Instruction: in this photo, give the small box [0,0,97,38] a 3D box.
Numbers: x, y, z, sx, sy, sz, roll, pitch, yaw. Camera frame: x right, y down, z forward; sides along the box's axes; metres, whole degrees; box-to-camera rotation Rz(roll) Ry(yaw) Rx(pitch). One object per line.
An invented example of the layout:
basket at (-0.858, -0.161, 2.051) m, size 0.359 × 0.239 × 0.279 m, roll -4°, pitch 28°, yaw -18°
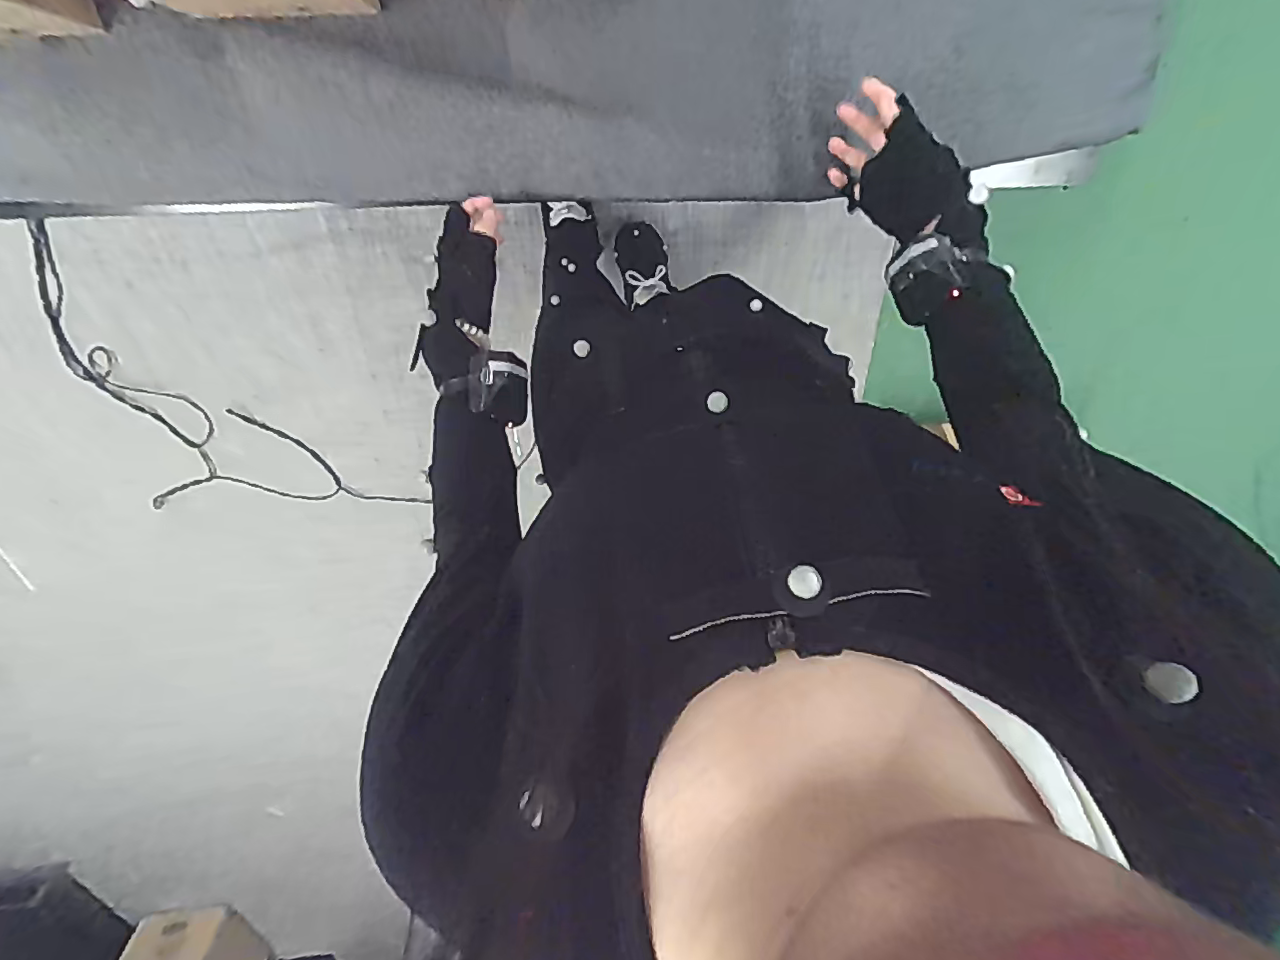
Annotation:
small box at (-0.545, -0.423, 0.359) m, size 0.168 × 0.176 × 0.179 m, roll -6°, pitch 120°, yaw -4°
